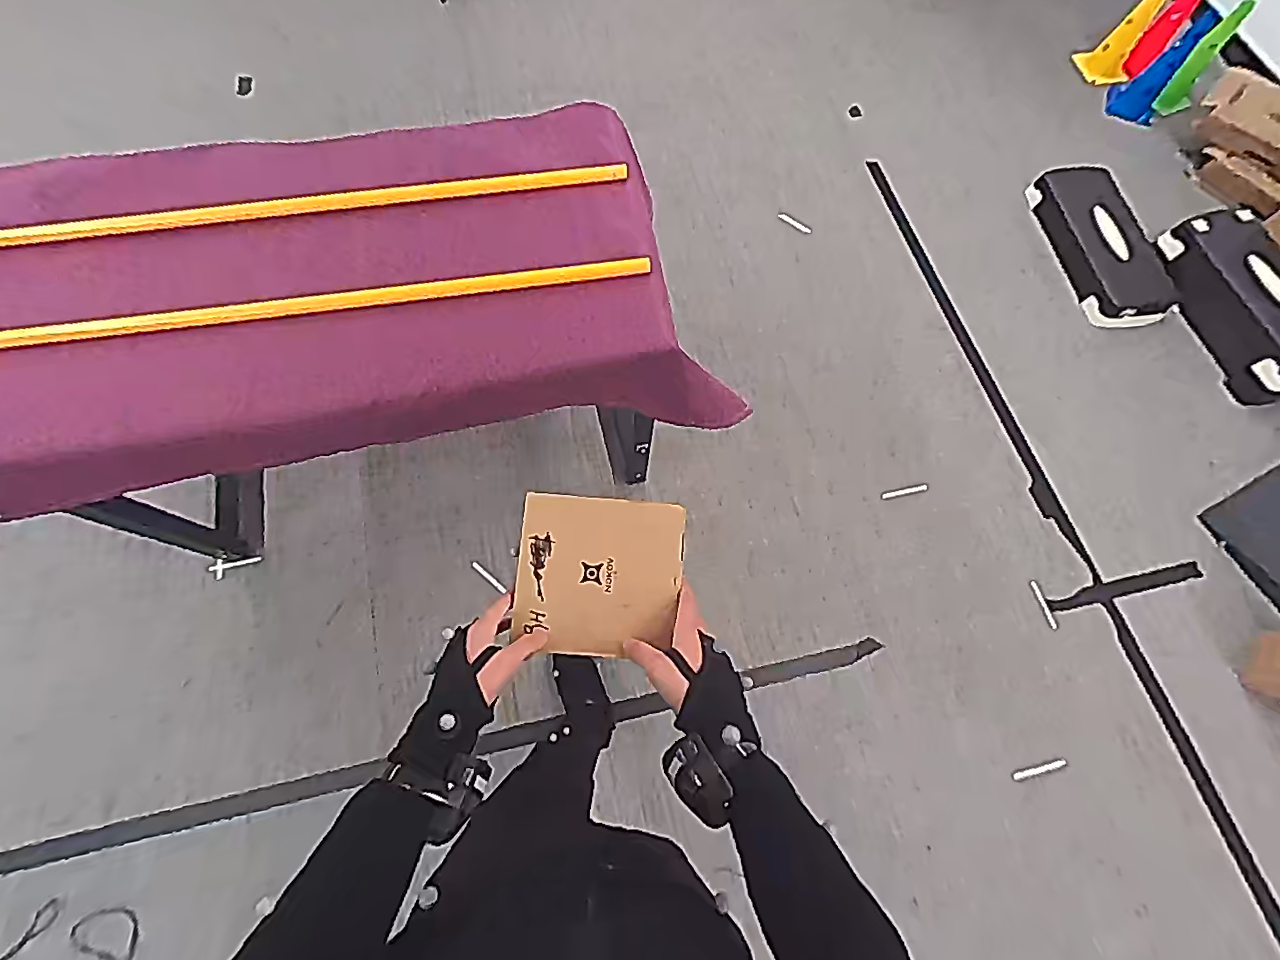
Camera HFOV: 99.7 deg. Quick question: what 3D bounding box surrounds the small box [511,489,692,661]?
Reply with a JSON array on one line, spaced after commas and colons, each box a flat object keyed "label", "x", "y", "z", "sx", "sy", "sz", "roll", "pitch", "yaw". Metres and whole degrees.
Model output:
[{"label": "small box", "x": -0.043, "y": 0.112, "z": 0.644, "sx": 0.179, "sy": 0.176, "sz": 0.168, "roll": 6, "pitch": 78, "yaw": -2}]
